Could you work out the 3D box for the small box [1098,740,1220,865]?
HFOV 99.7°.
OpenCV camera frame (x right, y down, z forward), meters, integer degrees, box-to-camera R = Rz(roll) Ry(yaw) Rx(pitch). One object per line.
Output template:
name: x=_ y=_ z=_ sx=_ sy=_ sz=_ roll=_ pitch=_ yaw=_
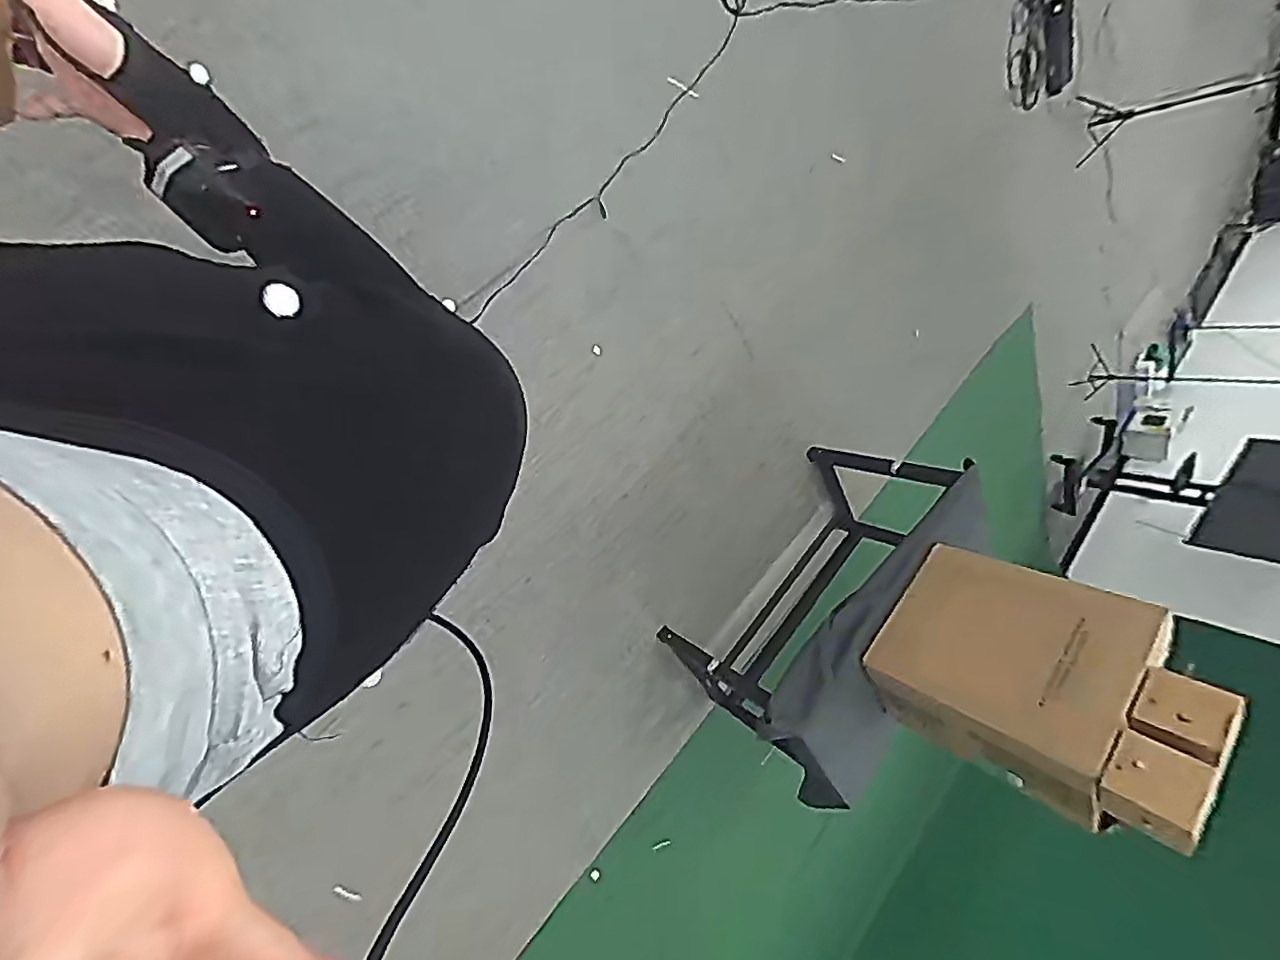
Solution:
small box: x=1.228 y=0.759 z=1.288 sx=0.168 sy=0.176 sz=0.179 roll=-47 pitch=124 yaw=-17
